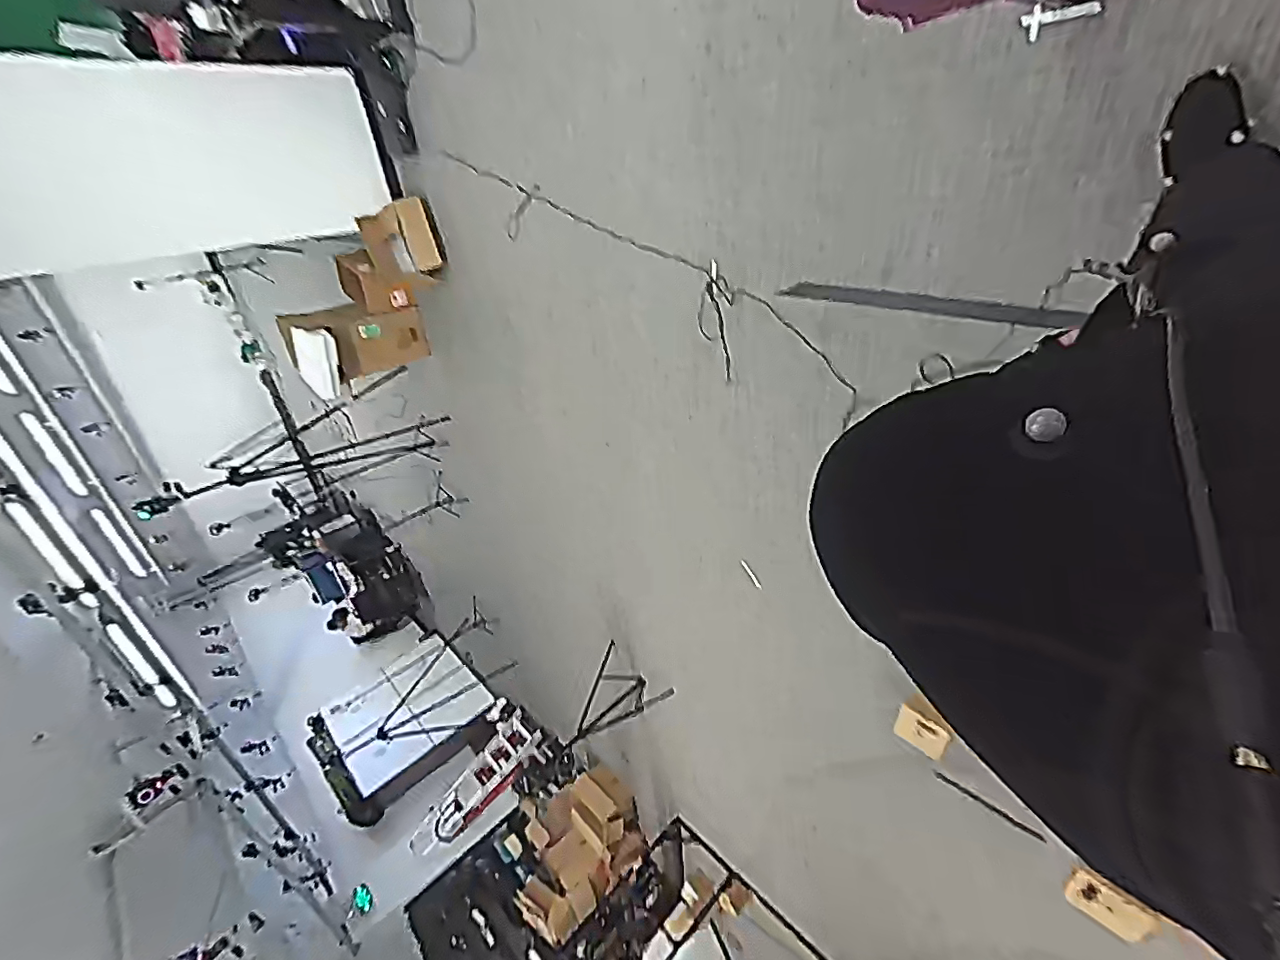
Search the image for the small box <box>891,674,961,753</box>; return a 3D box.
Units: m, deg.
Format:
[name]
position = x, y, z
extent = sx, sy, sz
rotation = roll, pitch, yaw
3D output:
[small box]
position = 1.073, 0.866, 2.023
extent = 0.168, 0.176, 0.179
rotation = 28, 136, 38
